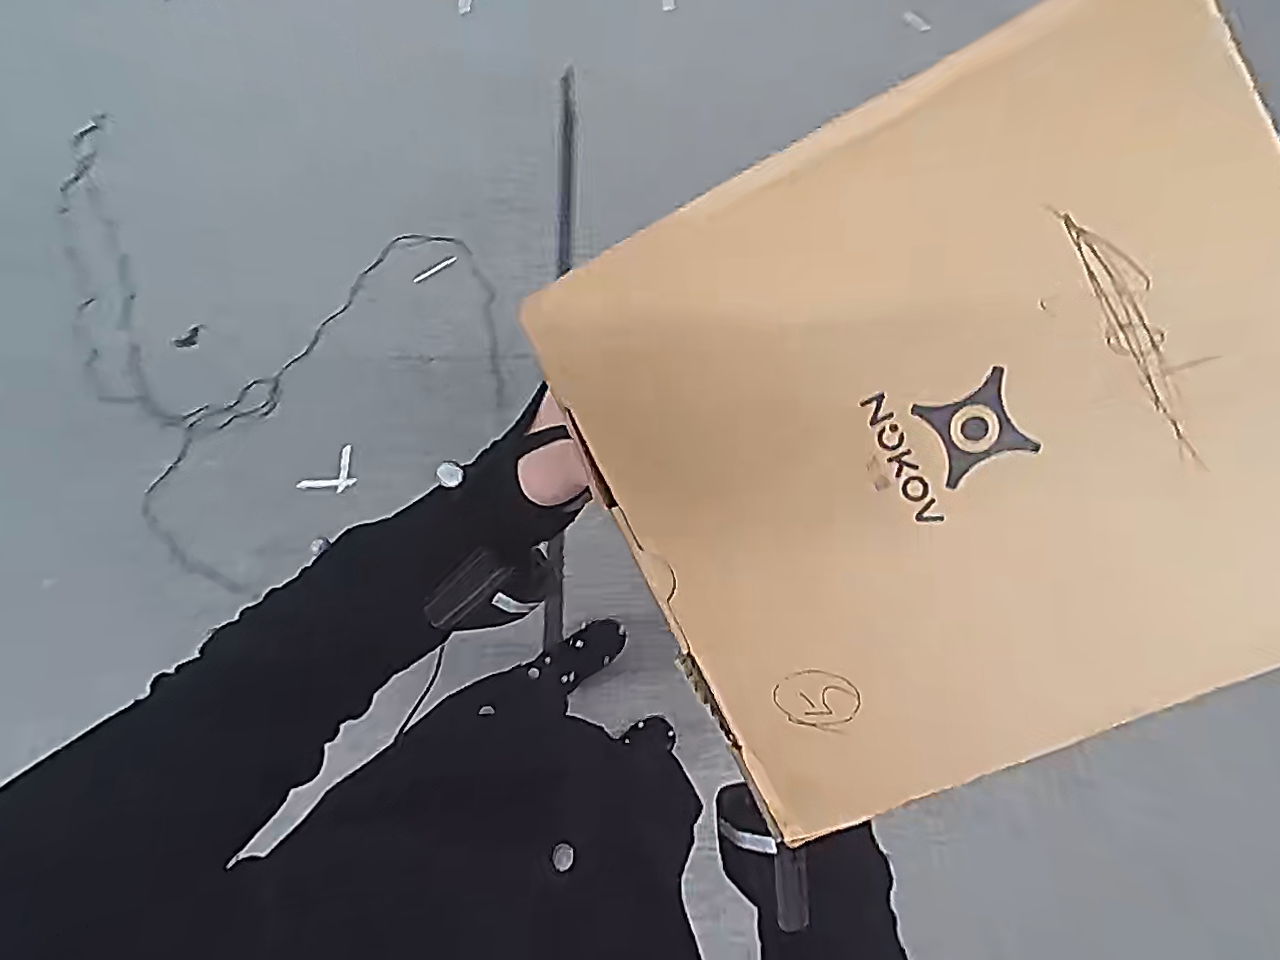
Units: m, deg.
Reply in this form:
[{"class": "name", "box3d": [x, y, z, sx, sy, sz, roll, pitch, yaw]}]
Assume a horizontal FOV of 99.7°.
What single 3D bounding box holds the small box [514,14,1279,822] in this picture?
[{"class": "small box", "box3d": [0.082, -0.014, 0.227, 0.179, 0.176, 0.168, -28, 92, 7]}]
